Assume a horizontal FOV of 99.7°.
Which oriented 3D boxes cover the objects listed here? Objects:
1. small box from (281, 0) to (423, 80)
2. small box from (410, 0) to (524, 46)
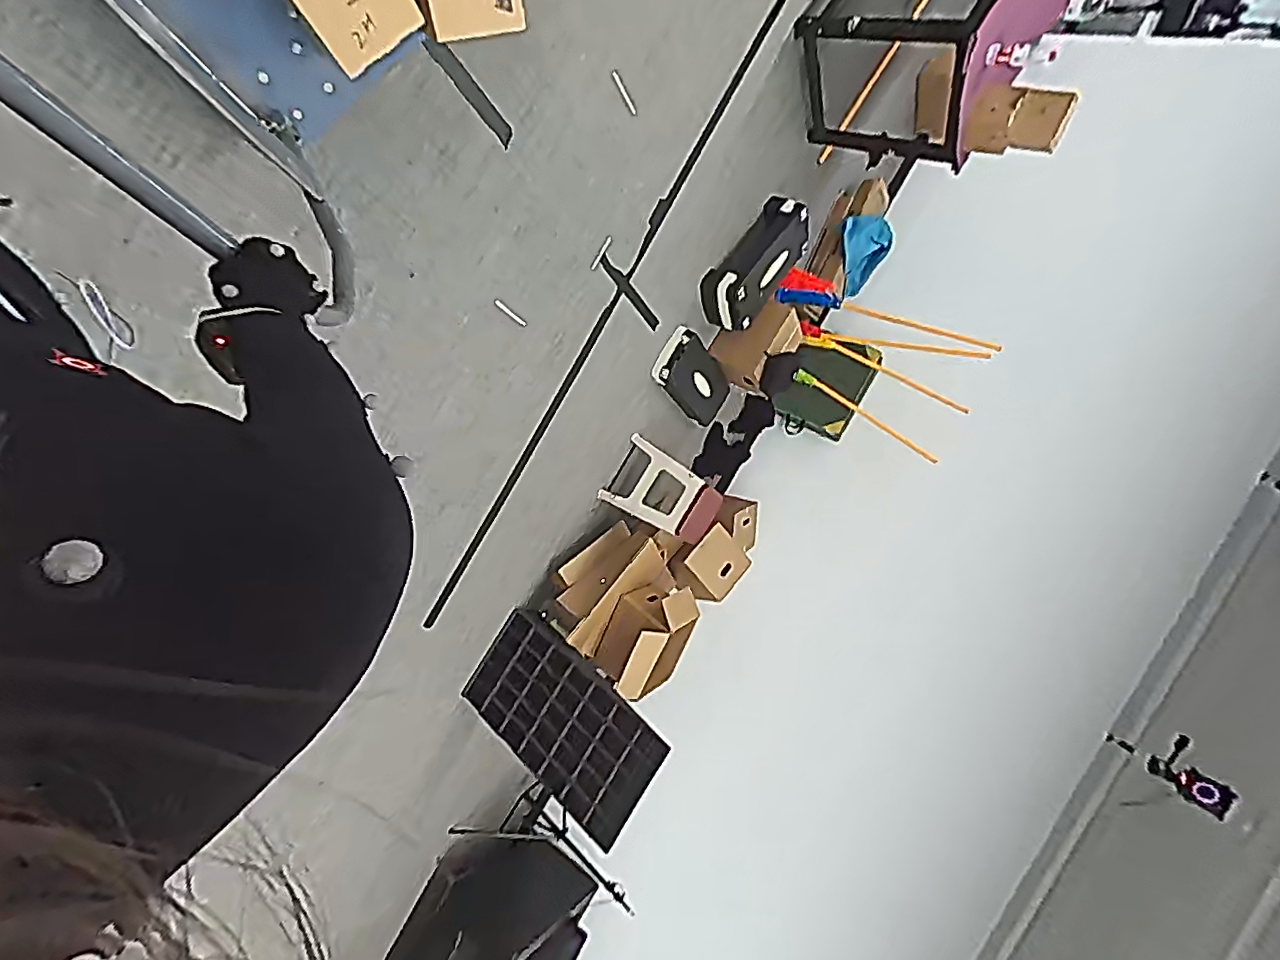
[{"bbox_3d":[-0.501,-0.813,0.887,0.168,0.176,0.179,-39,149,-3],"label":"small box"},{"bbox_3d":[-0.330,-0.901,0.960,0.179,0.176,0.168,-26,145,-21],"label":"small box"}]
